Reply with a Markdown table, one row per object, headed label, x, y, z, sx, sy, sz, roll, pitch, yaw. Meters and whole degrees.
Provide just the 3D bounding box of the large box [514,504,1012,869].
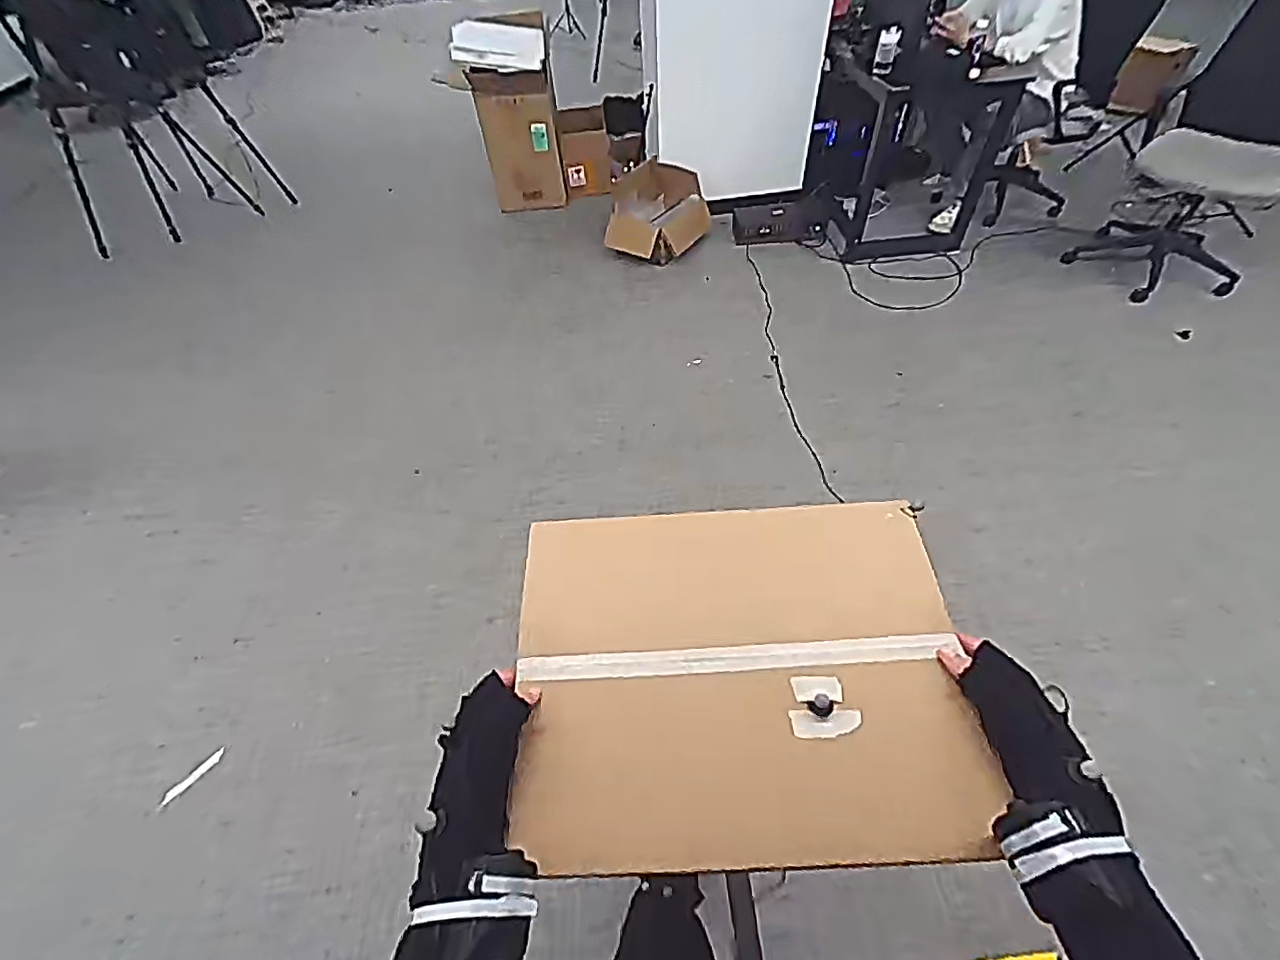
| label | x | y | z | sx | sy | sz | roll | pitch | yaw |
| --- | --- | --- | --- | --- | --- | --- | --- | --- | --- |
| large box | 0.096 | 0.249 | 0.631 | 0.408 | 0.320 | 0.320 | -4 | 56 | 2 |
